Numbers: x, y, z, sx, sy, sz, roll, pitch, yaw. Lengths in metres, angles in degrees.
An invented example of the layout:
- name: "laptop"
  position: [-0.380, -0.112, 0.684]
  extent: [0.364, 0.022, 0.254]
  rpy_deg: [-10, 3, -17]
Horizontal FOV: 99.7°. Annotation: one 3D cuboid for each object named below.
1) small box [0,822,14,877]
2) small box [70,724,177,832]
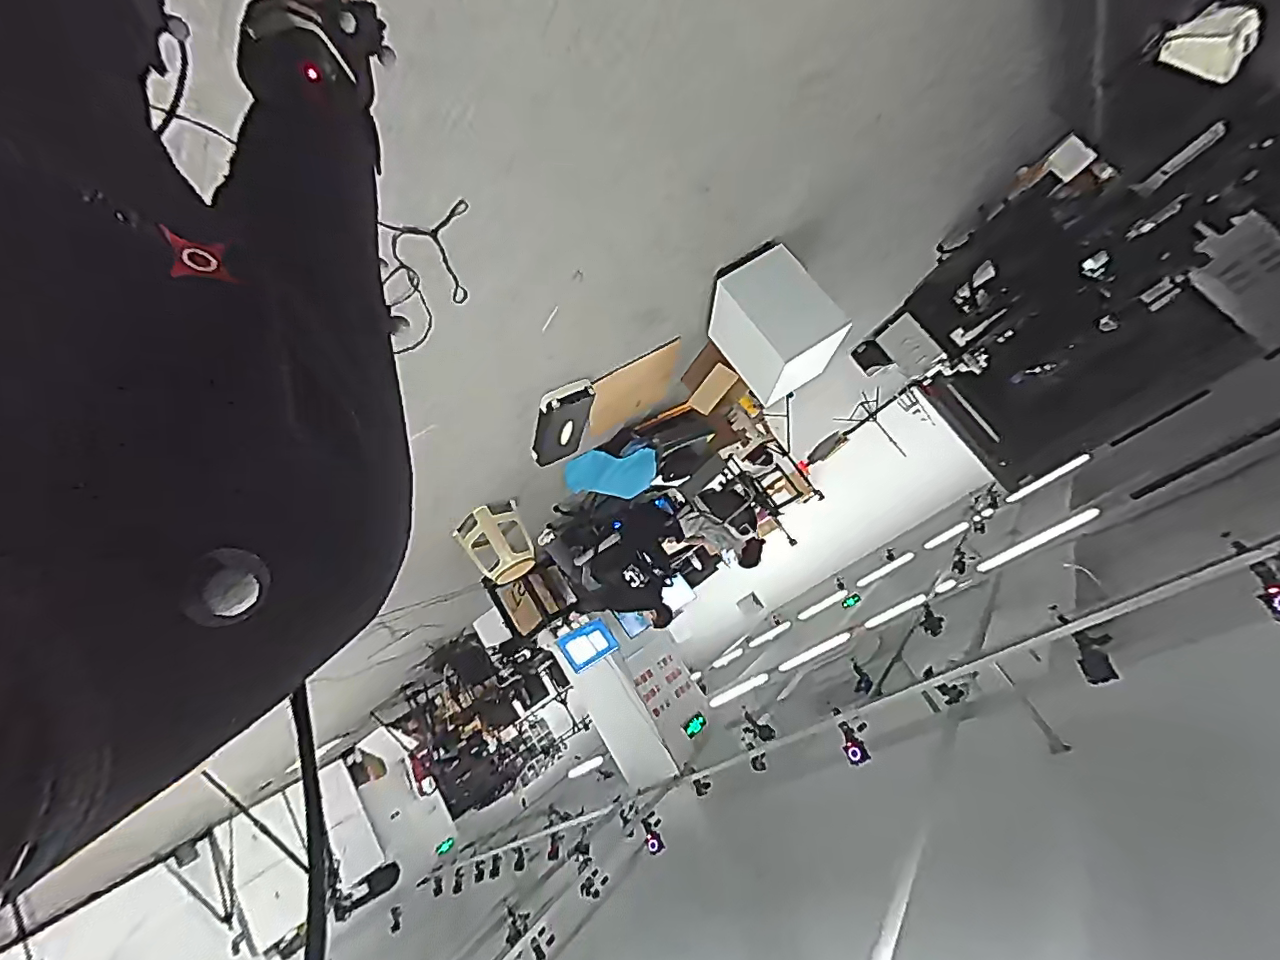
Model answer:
- name: "small box"
  position: [-1.524, 0.823, 1.174]
  extent: [0.168, 0.176, 0.179]
  rpy_deg: [-23, 161, -45]
- name: "small box"
  position: [-1.344, 0.768, 1.408]
  extent: [0.168, 0.176, 0.179]
  rpy_deg: [-18, 159, -50]
